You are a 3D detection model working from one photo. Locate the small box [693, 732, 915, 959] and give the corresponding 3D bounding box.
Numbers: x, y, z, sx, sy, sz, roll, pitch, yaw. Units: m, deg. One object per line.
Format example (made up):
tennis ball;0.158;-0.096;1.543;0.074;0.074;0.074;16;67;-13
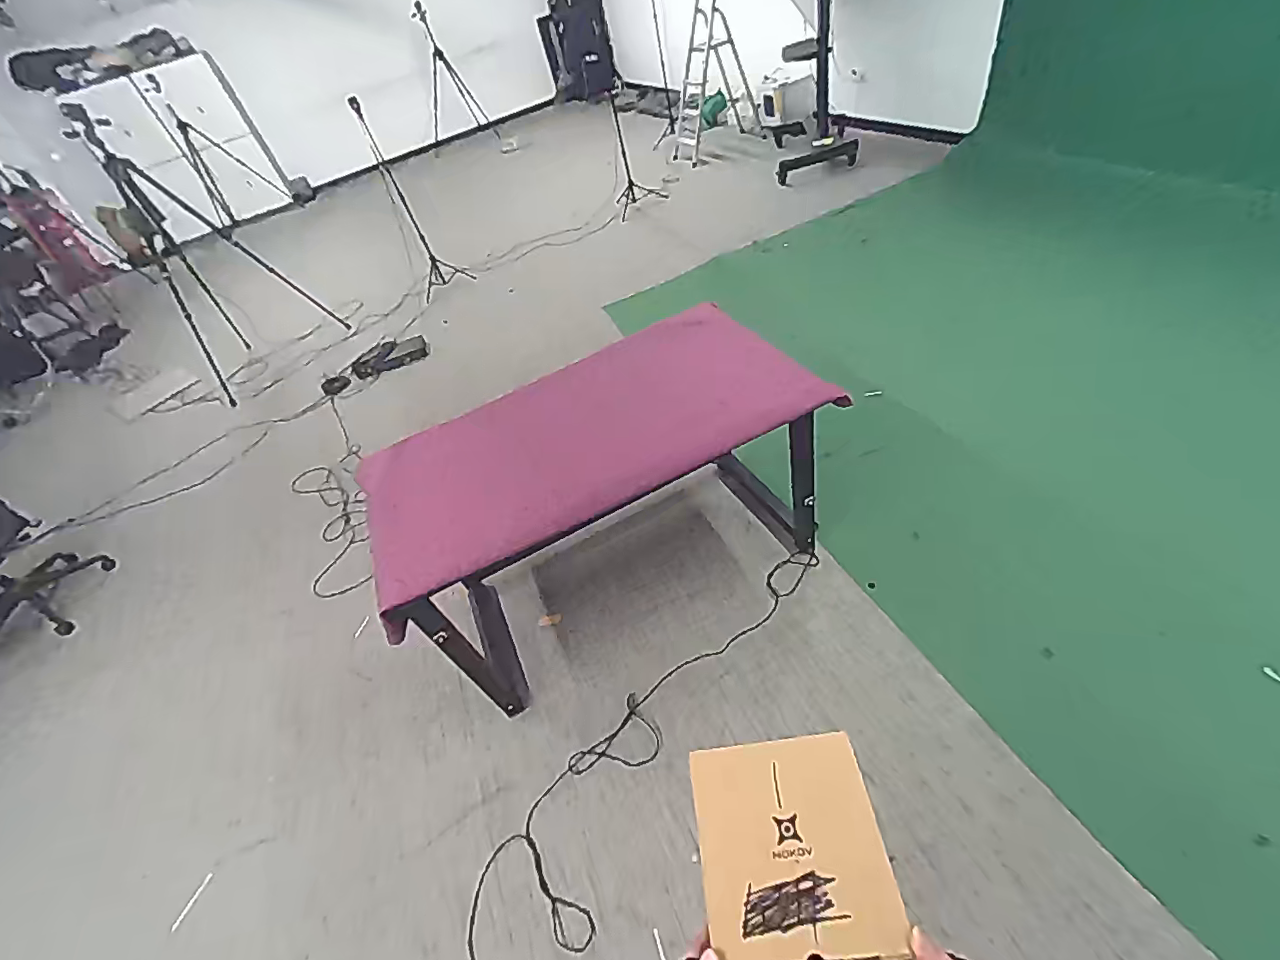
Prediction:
small box;0.152;0.383;0.554;0.168;0.176;0.179;-9;46;4
